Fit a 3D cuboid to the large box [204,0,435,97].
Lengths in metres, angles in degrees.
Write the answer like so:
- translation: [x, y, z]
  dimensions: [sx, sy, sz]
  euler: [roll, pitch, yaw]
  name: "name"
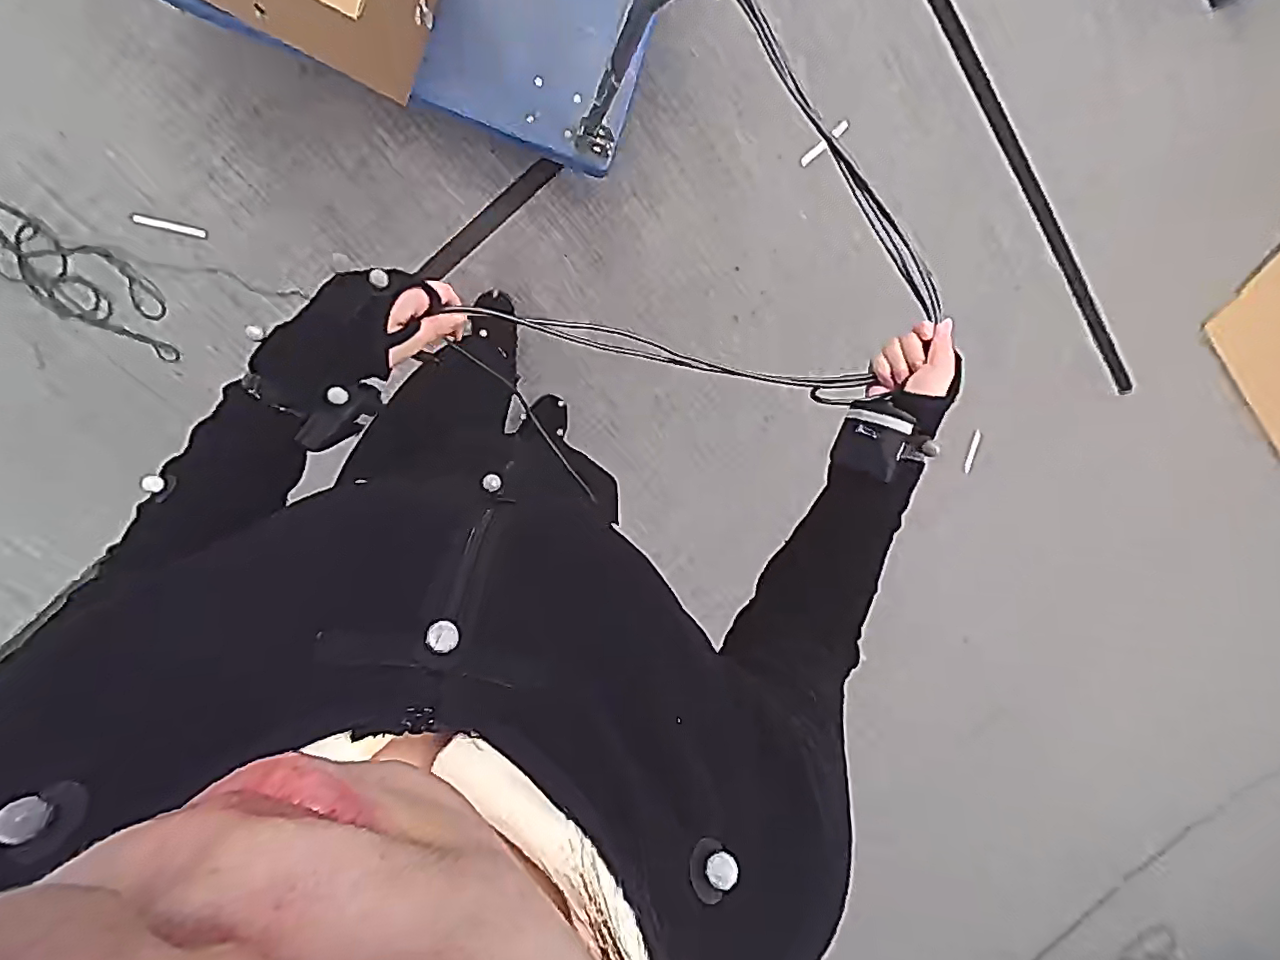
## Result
- translation: [-0.546, -0.892, 0.826]
  dimensions: [0.408, 0.320, 0.320]
  euler: [20, 100, -15]
  name: "large box"
